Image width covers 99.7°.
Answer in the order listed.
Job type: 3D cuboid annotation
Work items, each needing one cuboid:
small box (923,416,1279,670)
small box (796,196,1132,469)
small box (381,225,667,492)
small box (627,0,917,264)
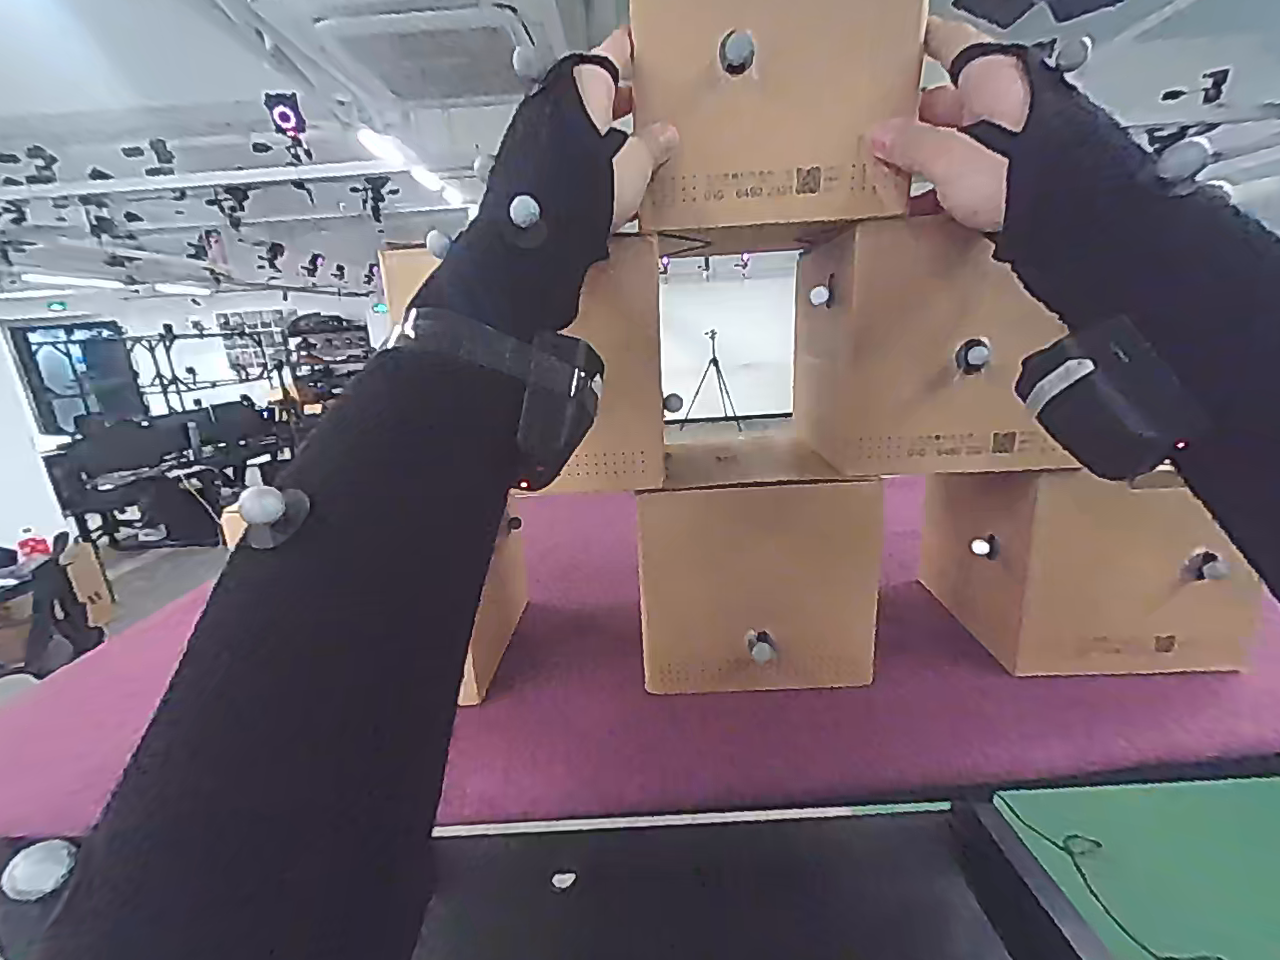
[{"bbox_3d":[0.365,0.046,0.463,0.168,0.176,0.179,-2,14,5],"label":"small box"},{"bbox_3d":[0.223,-0.106,0.426,0.168,0.176,0.179,-2,15,4],"label":"small box"},{"bbox_3d":[-0.070,-0.090,0.428,0.179,0.176,0.168,-2,15,2],"label":"small box"},{"bbox_3d":[0.083,-0.257,0.386,0.168,0.176,0.179,-2,16,5],"label":"small box"}]
